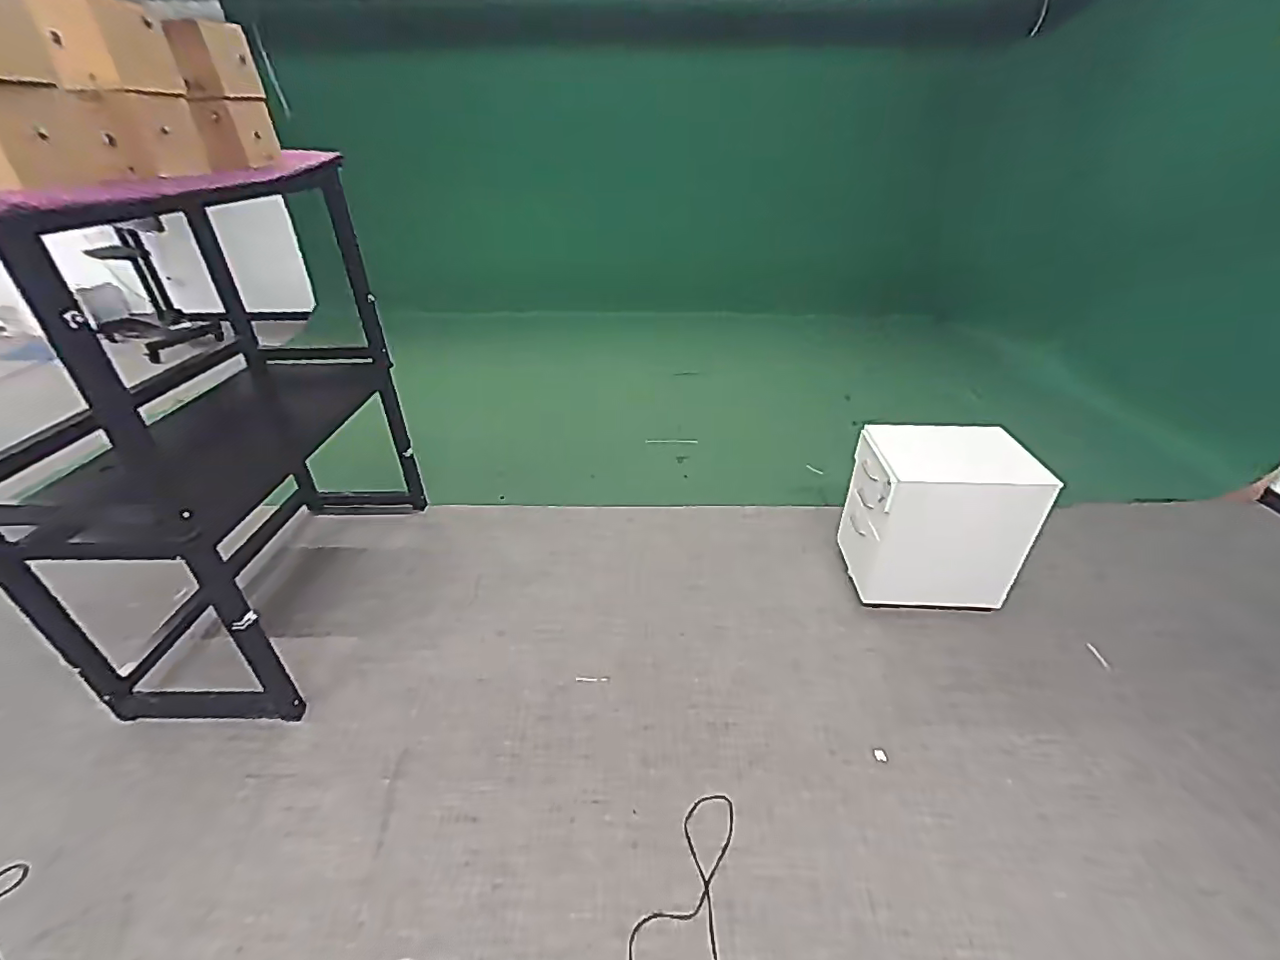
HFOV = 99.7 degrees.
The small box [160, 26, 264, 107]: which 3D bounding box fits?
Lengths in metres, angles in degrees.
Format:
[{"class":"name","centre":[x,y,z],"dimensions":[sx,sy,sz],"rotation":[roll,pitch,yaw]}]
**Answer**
[{"class":"small box","centre":[-1.176,-1.123,1.482],"dimensions":[0.168,0.176,0.179],"rotation":[-2,35,3]}]

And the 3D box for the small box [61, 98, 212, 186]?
[{"class":"small box","centre":[-1.180,-0.803,1.289],"dimensions":[0.168,0.176,0.179],"rotation":[1,33,2]}]

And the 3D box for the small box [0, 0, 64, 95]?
[{"class":"small box","centre":[-1.160,-0.760,0.913],"dimensions":[0.168,0.176,0.179],"rotation":[-2,32,-3]}]

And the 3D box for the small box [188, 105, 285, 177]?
[{"class":"small box","centre":[-1.185,-0.989,1.575],"dimensions":[0.179,0.176,0.168],"rotation":[-1,34,3]}]

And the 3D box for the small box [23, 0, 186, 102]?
[{"class":"small box","centre":[-1.177,-0.943,1.204],"dimensions":[0.168,0.176,0.179],"rotation":[2,32,4]}]
